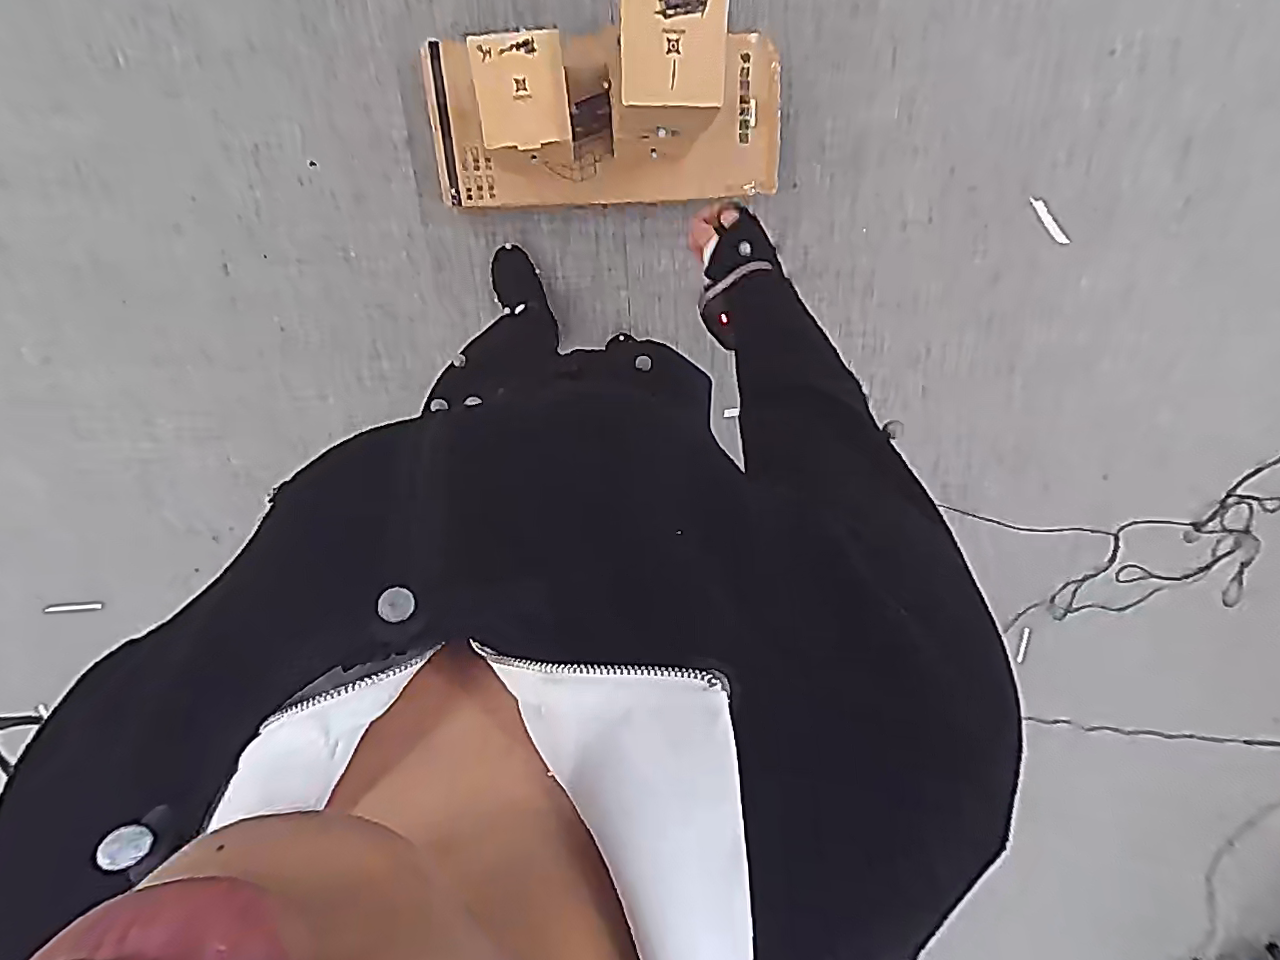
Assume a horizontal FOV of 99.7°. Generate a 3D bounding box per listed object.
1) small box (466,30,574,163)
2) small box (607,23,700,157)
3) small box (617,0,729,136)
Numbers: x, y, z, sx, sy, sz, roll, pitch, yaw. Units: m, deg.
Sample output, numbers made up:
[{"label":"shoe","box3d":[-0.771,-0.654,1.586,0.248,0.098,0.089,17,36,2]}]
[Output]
[{"label":"small box","box3d":[-0.222,-0.729,1.048,0.168,0.176,0.179,-6,111,-2]},{"label":"small box","box3d":[0.025,-0.755,1.060,0.168,0.176,0.179,-5,110,-3]},{"label":"small box","box3d":[0.046,-0.702,0.906,0.168,0.176,0.179,-1,110,-4]}]
